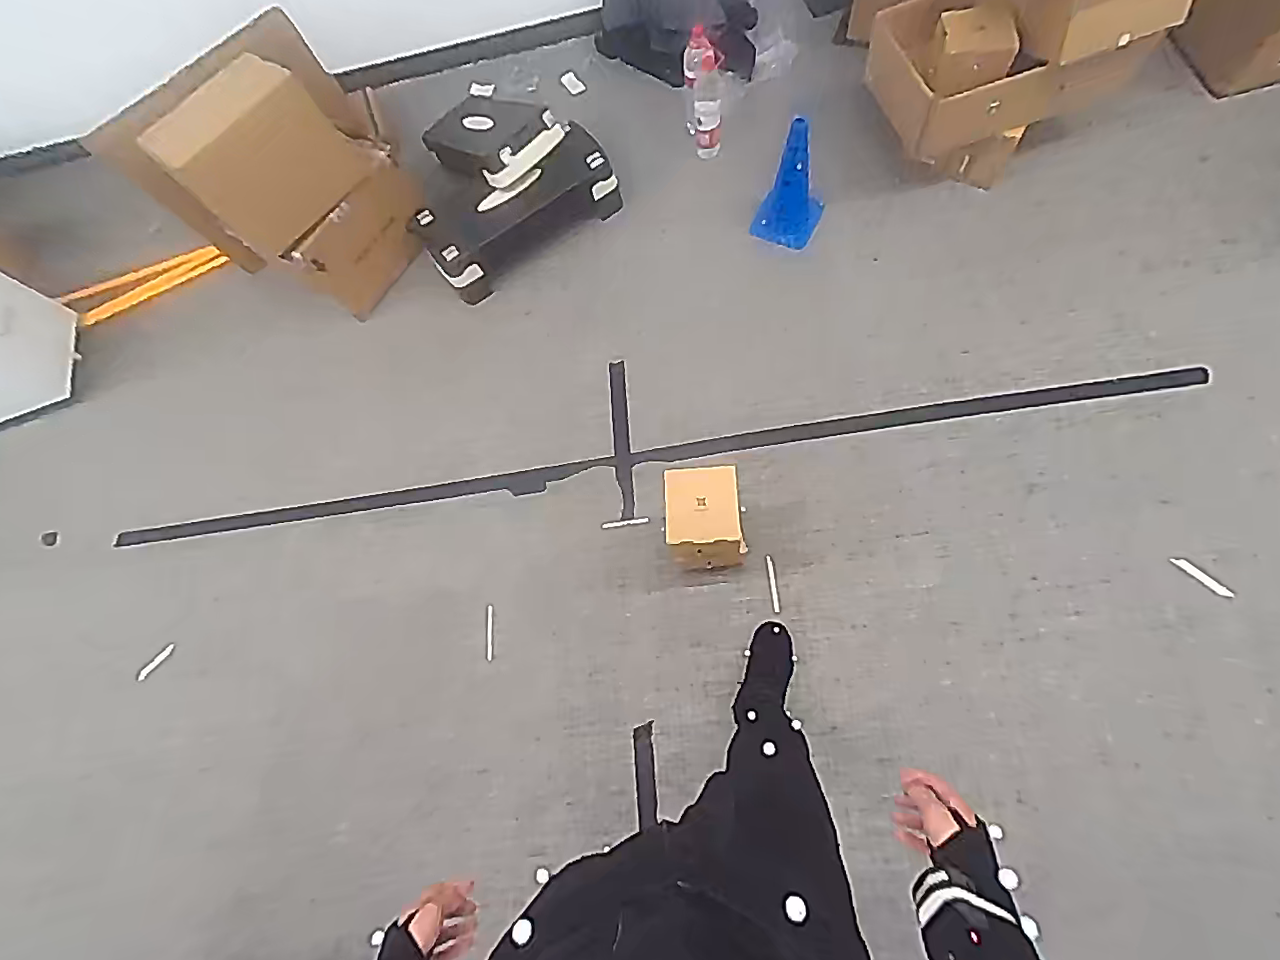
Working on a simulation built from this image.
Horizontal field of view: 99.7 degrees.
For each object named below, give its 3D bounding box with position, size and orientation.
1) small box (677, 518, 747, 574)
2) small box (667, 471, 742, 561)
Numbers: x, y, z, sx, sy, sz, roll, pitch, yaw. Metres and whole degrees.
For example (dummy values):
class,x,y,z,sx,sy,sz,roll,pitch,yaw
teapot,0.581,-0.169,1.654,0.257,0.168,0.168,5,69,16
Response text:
class,x,y,z,sx,sy,sz,roll,pitch,yaw
small box,0.184,0.152,1.440,0.179,0.176,0.168,-8,71,7
small box,0.153,0.090,1.292,0.168,0.176,0.179,-4,72,8
